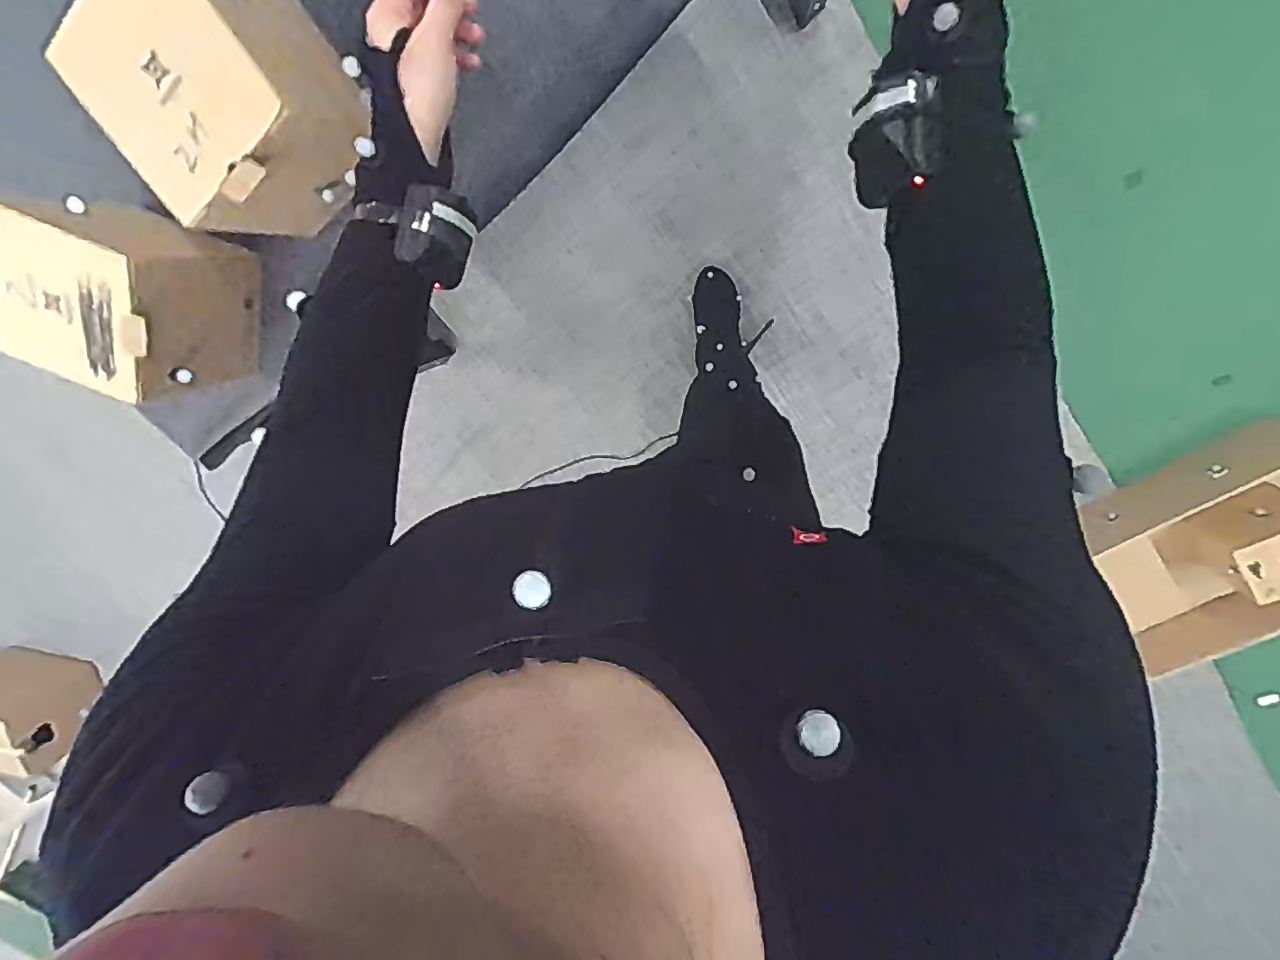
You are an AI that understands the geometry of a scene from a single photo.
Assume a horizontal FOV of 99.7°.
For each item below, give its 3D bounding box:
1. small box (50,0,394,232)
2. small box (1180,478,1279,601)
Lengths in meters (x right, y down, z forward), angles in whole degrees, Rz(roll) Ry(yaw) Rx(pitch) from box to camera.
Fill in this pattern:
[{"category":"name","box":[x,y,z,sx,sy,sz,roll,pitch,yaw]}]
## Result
[{"category":"small box","box":[-0.397,-0.374,0.544,0.168,0.176,0.179,-30,104,21]},{"category":"small box","box":[1.373,0.124,1.191,0.179,0.176,0.168,-35,105,22]}]
